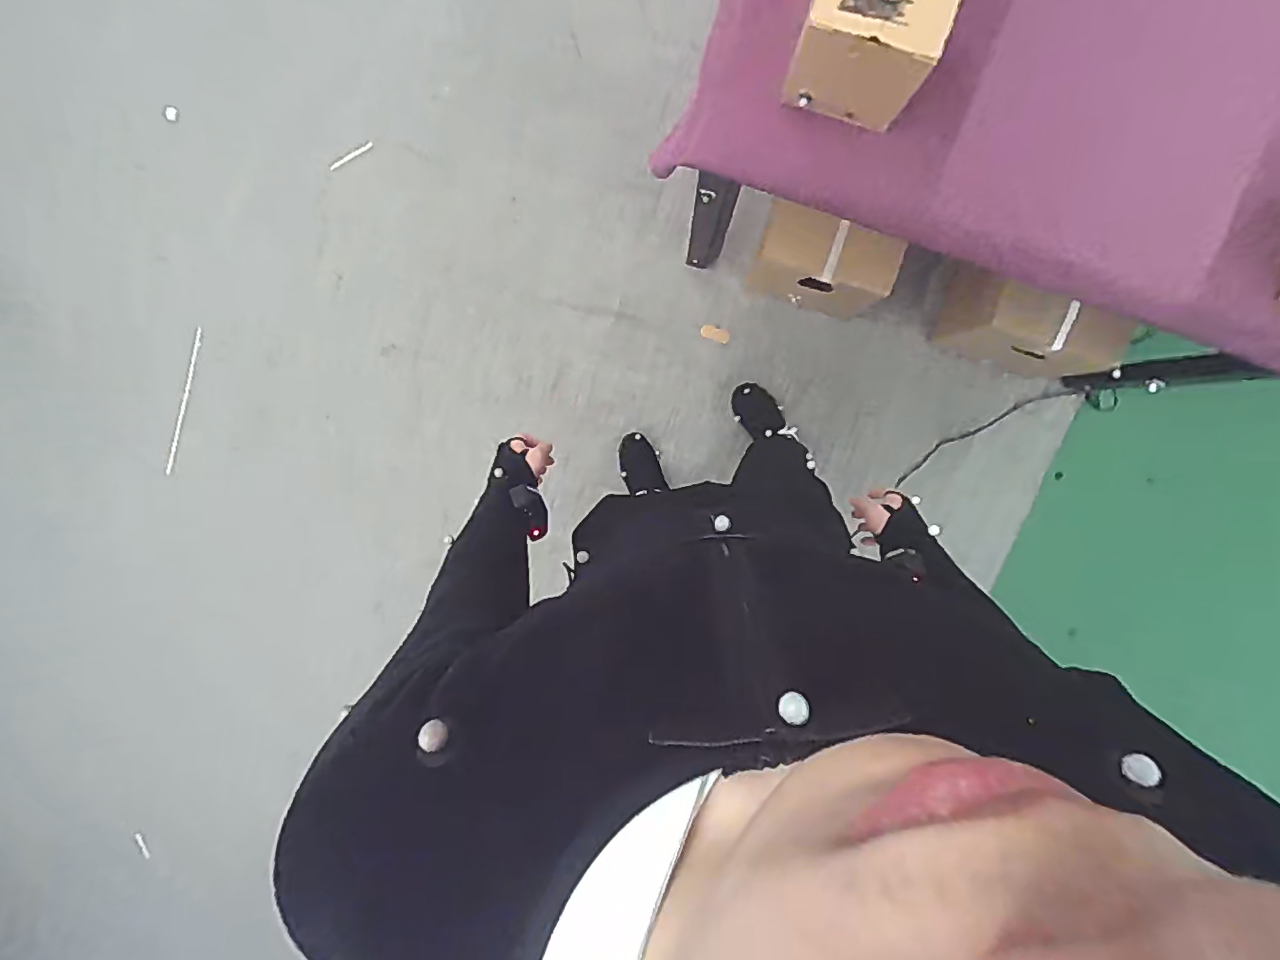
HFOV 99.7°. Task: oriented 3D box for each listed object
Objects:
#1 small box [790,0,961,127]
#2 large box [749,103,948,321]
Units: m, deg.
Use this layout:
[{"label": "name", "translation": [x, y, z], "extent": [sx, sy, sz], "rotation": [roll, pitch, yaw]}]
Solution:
[{"label": "small box", "translation": [0.315, -0.618, 0.723], "extent": [0.168, 0.176, 0.179], "rotation": [18, 96, 0]}, {"label": "large box", "translation": [0.497, -0.667, 1.375], "extent": [0.320, 0.320, 0.408], "rotation": [17, 96, 0]}]
